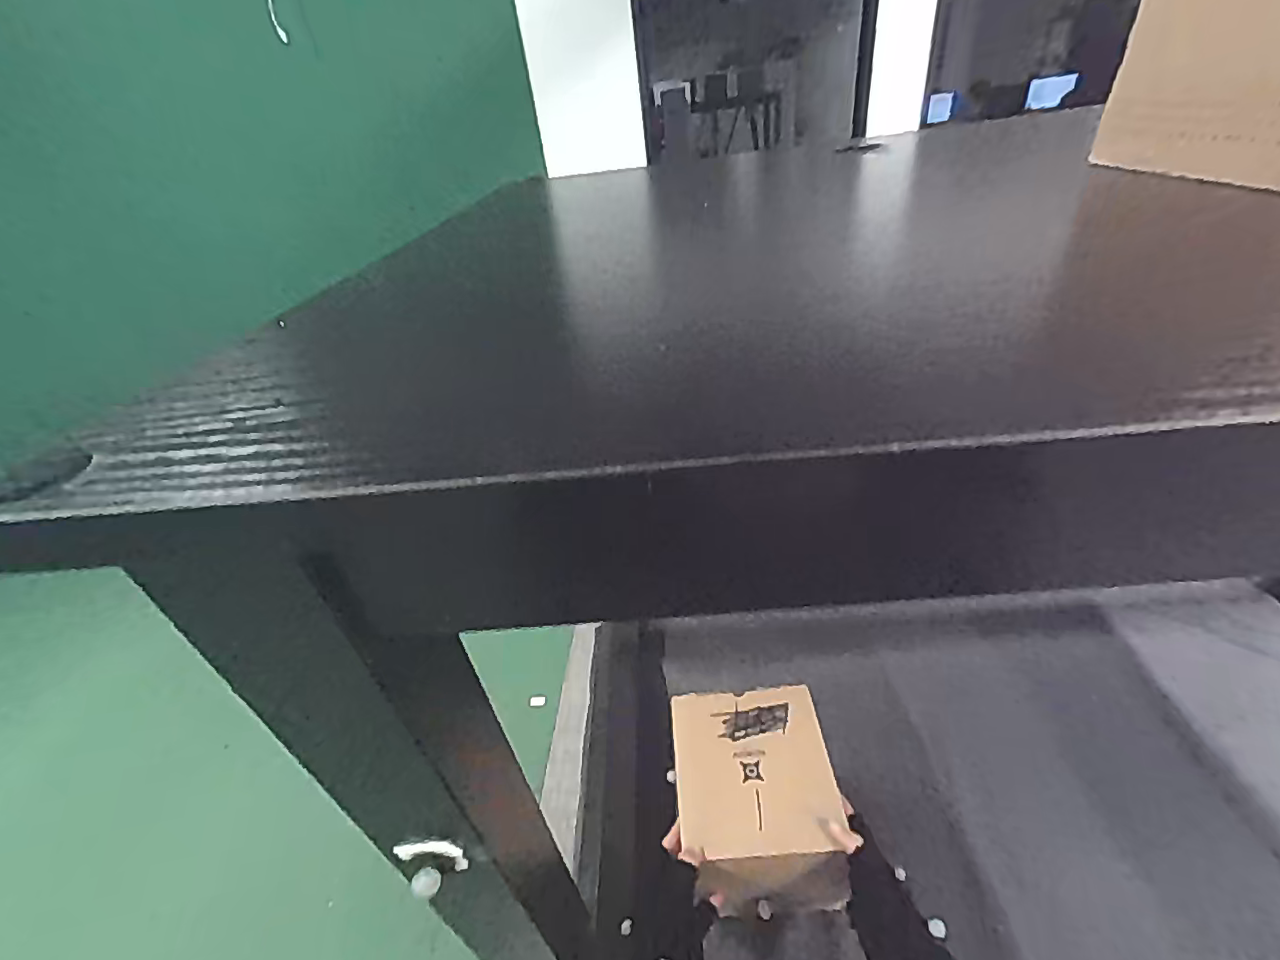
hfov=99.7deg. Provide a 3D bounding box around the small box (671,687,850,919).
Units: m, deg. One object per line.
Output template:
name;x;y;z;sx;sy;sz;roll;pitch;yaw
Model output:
small box;0.128;0.369;0.624;0.168;0.176;0.179;-8;36;5
